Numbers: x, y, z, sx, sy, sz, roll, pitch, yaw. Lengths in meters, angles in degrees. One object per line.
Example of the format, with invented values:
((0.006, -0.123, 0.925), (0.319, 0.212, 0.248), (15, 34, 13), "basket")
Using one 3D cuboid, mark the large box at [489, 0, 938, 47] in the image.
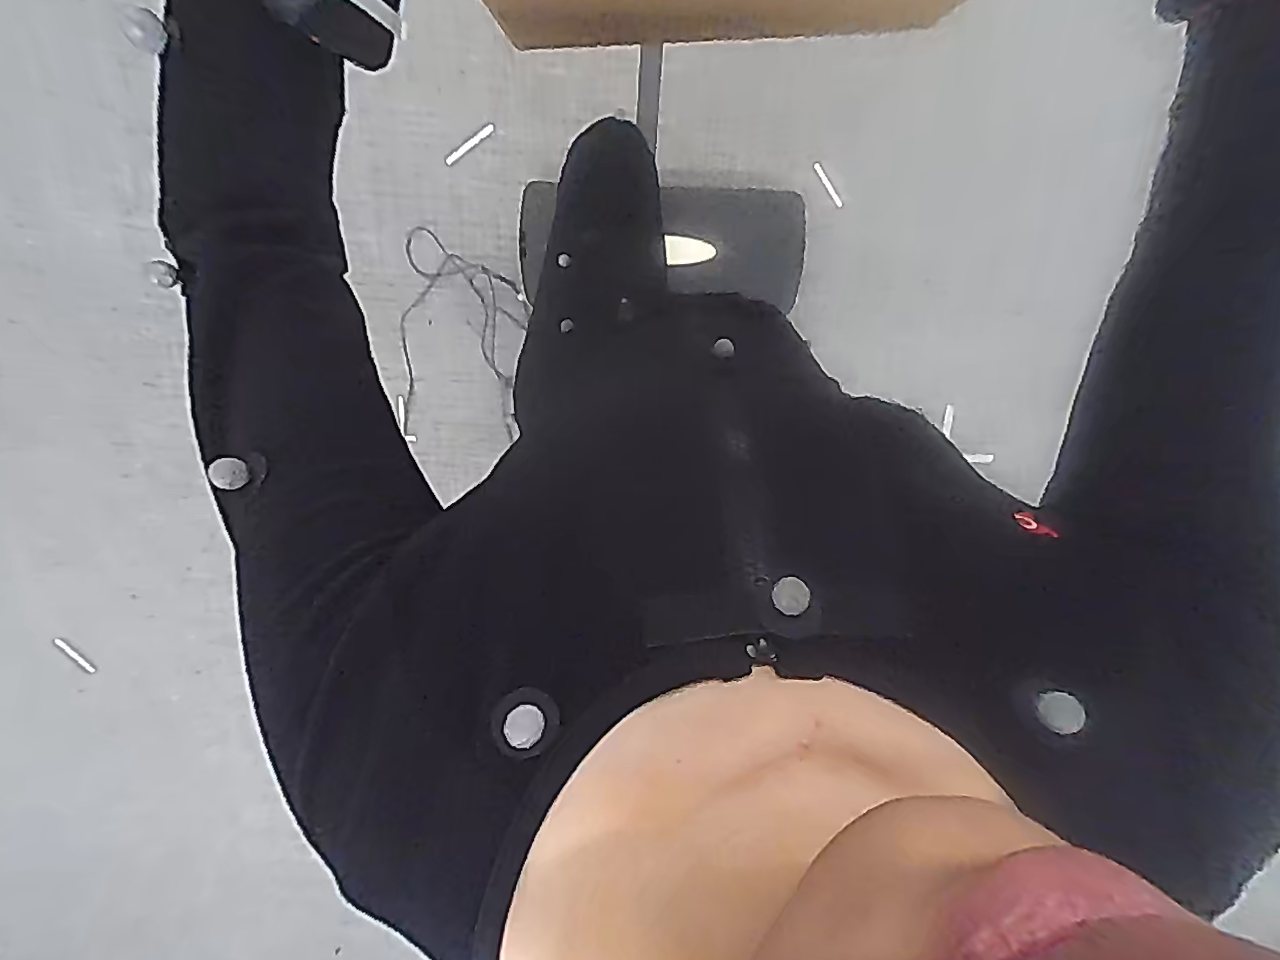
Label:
((0.064, -0.515, 0.330), (0.408, 0.320, 0.320), (-2, 114, 1), "large box")
